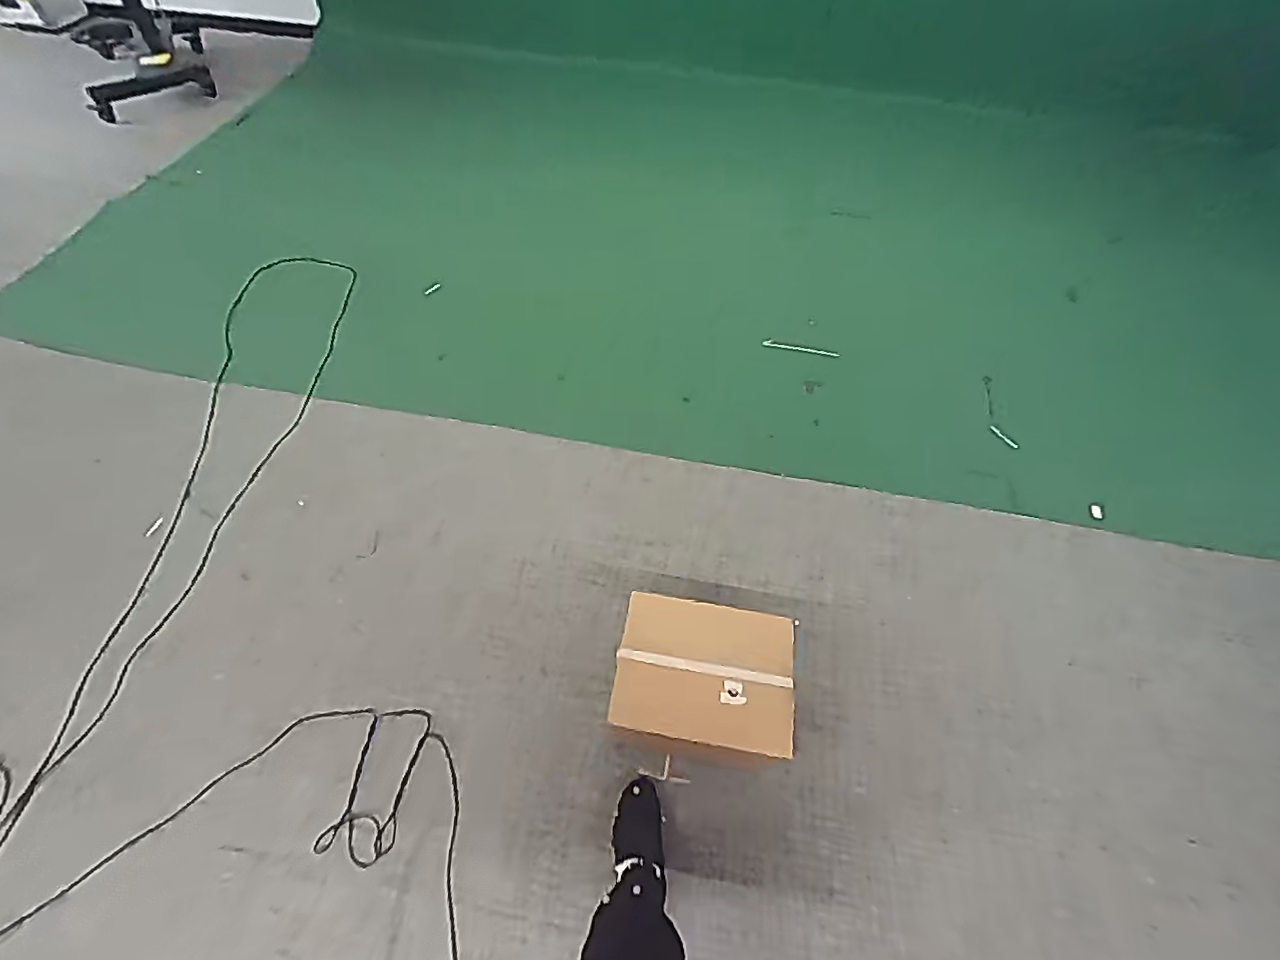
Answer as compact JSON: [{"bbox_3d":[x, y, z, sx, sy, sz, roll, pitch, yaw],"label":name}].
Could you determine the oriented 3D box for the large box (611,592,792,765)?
[{"bbox_3d":[0.145,0.512,1.381,0.408,0.320,0.320,8,57,3],"label":"large box"}]
